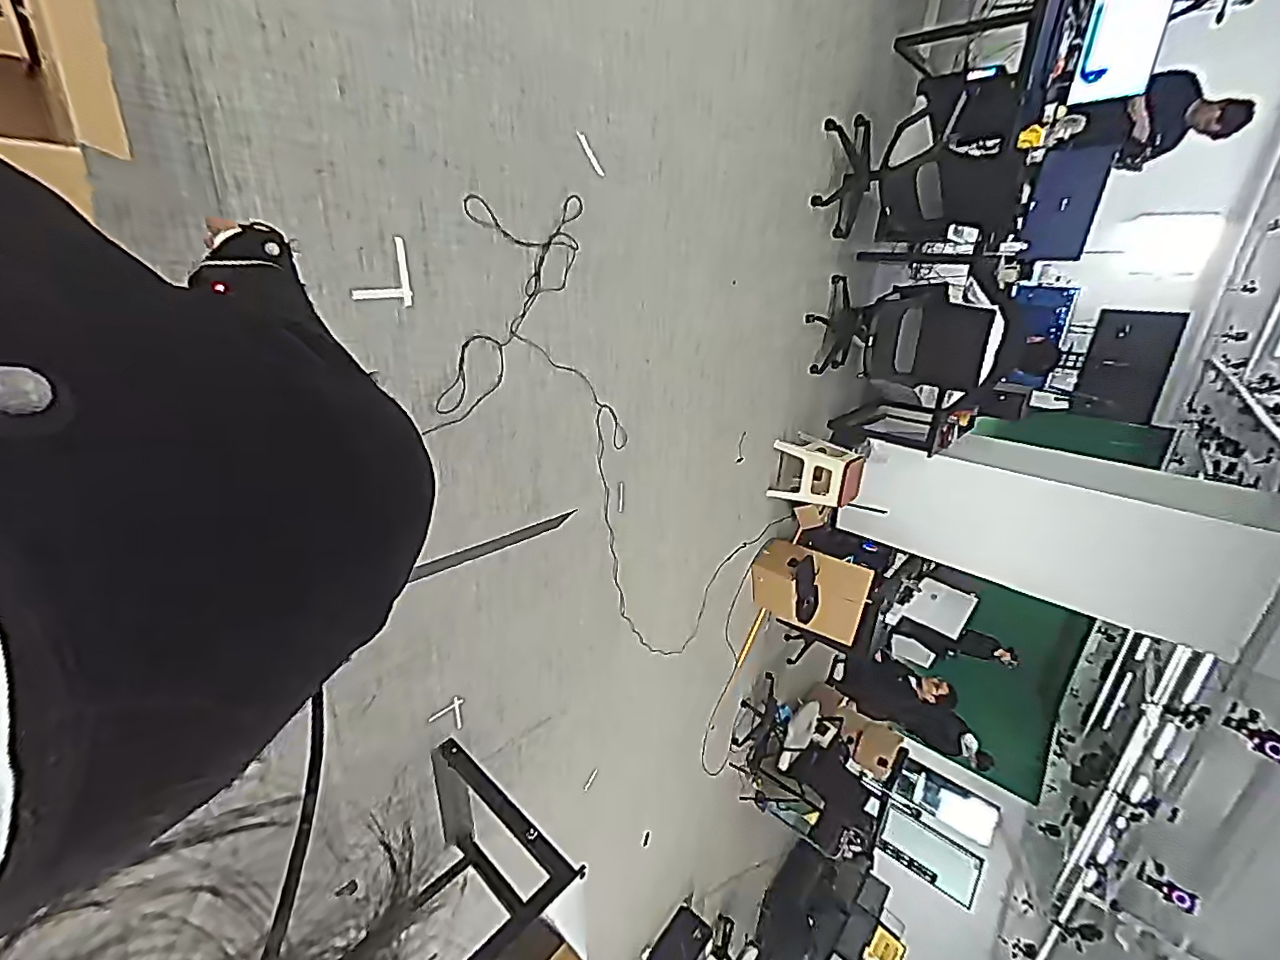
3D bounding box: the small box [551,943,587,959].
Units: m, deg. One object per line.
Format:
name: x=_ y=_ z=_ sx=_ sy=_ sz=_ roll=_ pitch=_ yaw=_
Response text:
small box: x=-0.213 y=1.523 z=1.583 sx=0.168 sy=0.176 sz=0.179 roll=-23 pitch=123 yaw=-42
